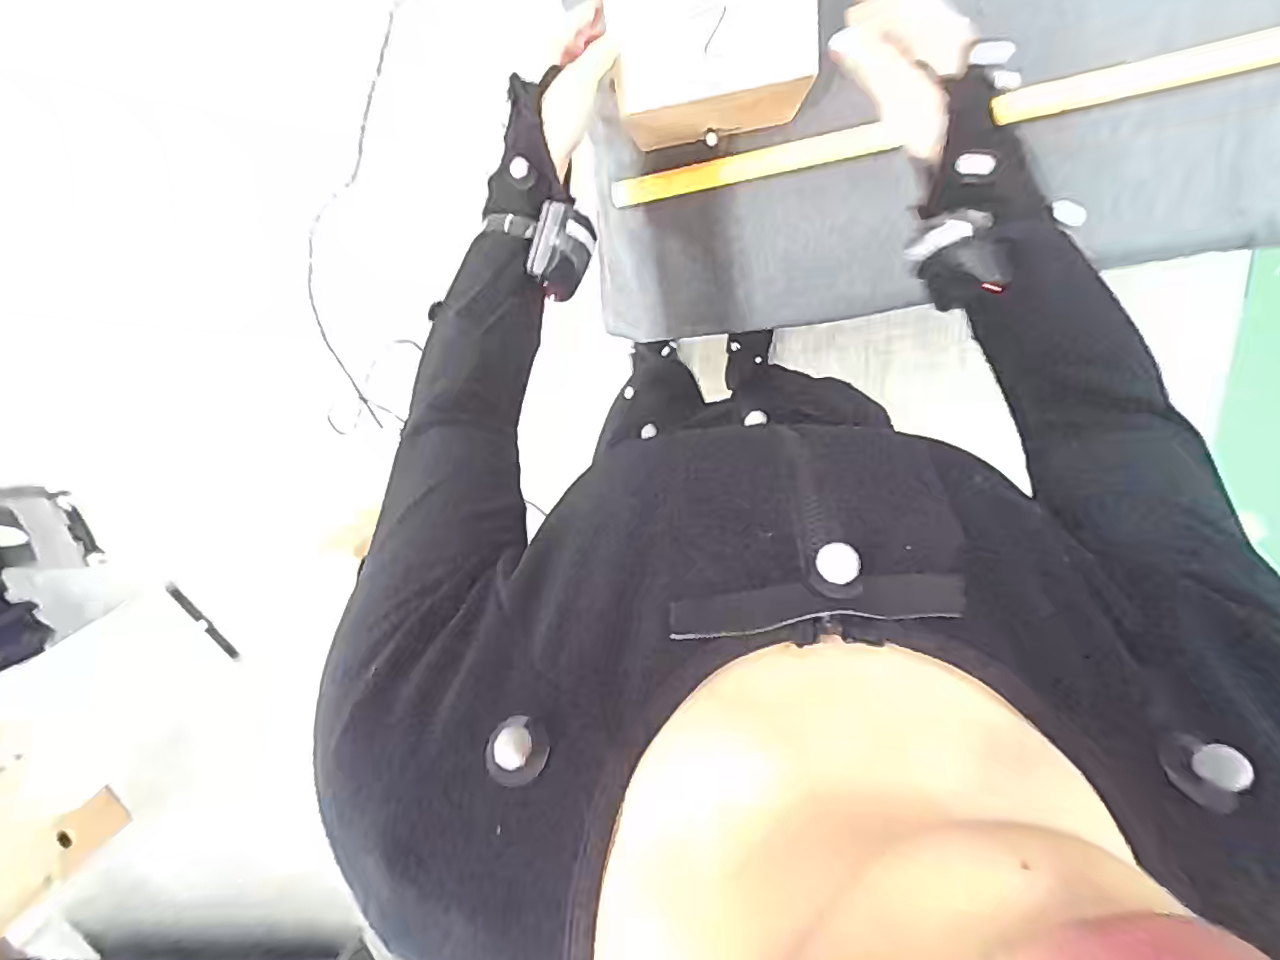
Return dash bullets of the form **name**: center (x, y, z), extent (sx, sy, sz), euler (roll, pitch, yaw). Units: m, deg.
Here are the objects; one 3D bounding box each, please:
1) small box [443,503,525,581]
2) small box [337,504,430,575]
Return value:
- **small box**: center (-0.455, 0.183, 1.605), extent (0.168, 0.176, 0.179), euler (-3, 111, 9)
- **small box**: center (-0.769, 0.187, 1.651), extent (0.179, 0.176, 0.168), euler (-11, 111, 13)
